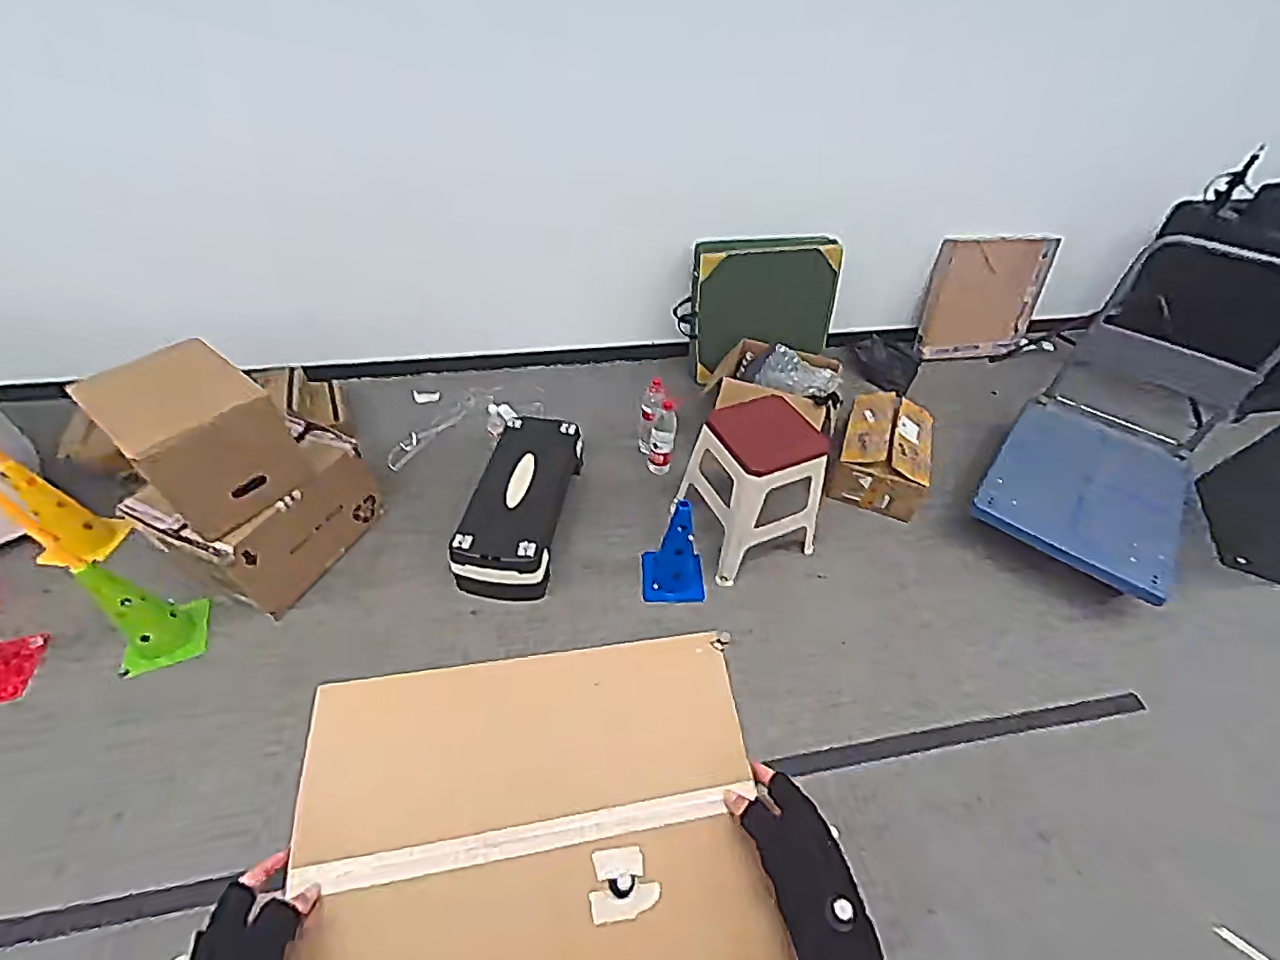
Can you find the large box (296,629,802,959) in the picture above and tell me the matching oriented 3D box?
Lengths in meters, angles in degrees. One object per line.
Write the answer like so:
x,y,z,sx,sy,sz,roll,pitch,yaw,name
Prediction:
-0.100,0.394,0.606,0.408,0.320,0.320,-5,57,-10,large box
